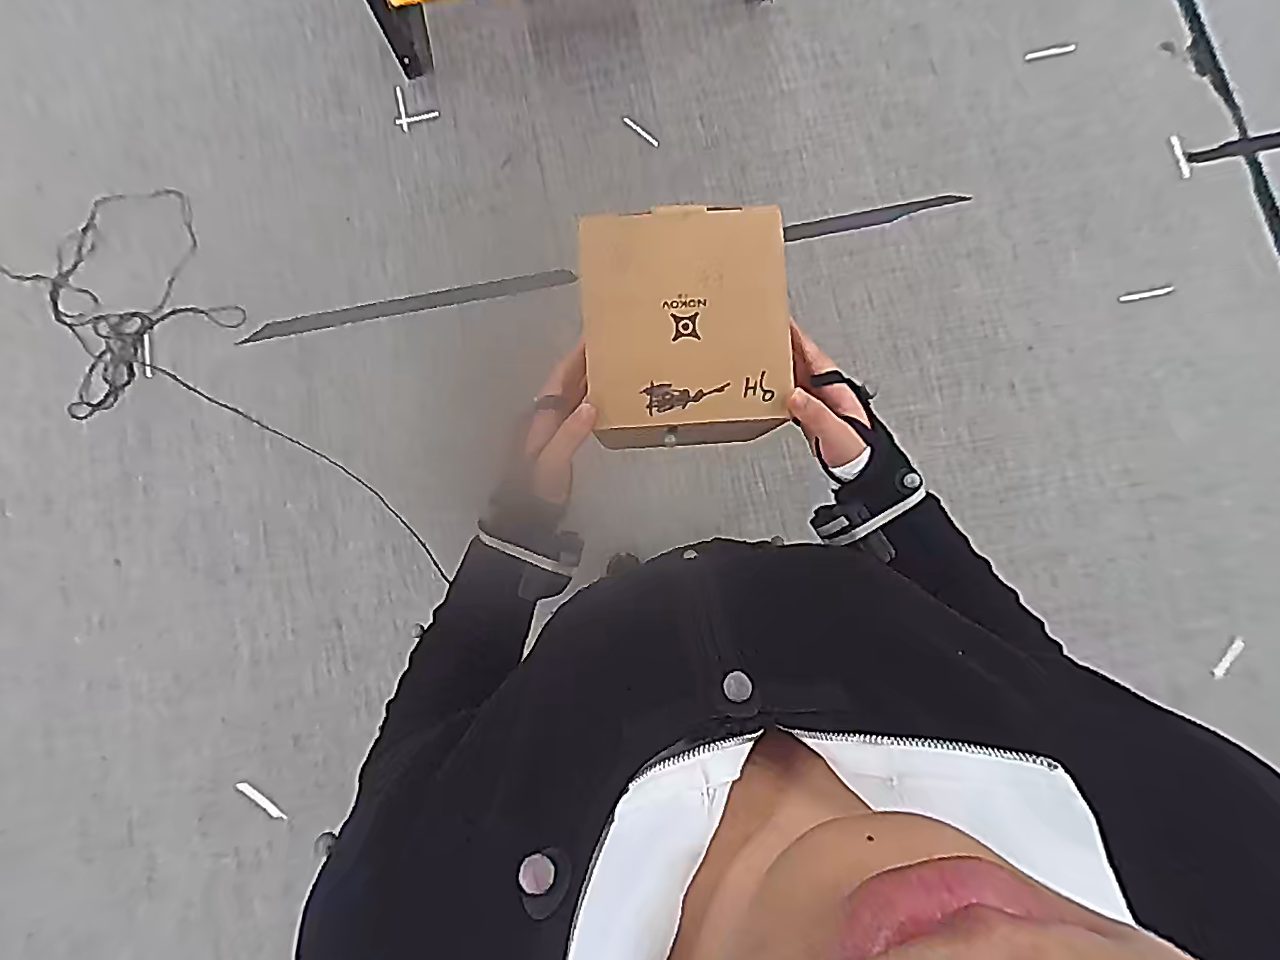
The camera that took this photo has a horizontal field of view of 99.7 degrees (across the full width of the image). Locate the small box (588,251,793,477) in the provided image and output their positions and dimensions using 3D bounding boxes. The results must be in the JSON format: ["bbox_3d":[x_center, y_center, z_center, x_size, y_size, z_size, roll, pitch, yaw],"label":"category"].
[{"bbox_3d":[0.039,-0.098,0.525,0.168,0.176,0.179,-3,88,0],"label":"small box"}]
